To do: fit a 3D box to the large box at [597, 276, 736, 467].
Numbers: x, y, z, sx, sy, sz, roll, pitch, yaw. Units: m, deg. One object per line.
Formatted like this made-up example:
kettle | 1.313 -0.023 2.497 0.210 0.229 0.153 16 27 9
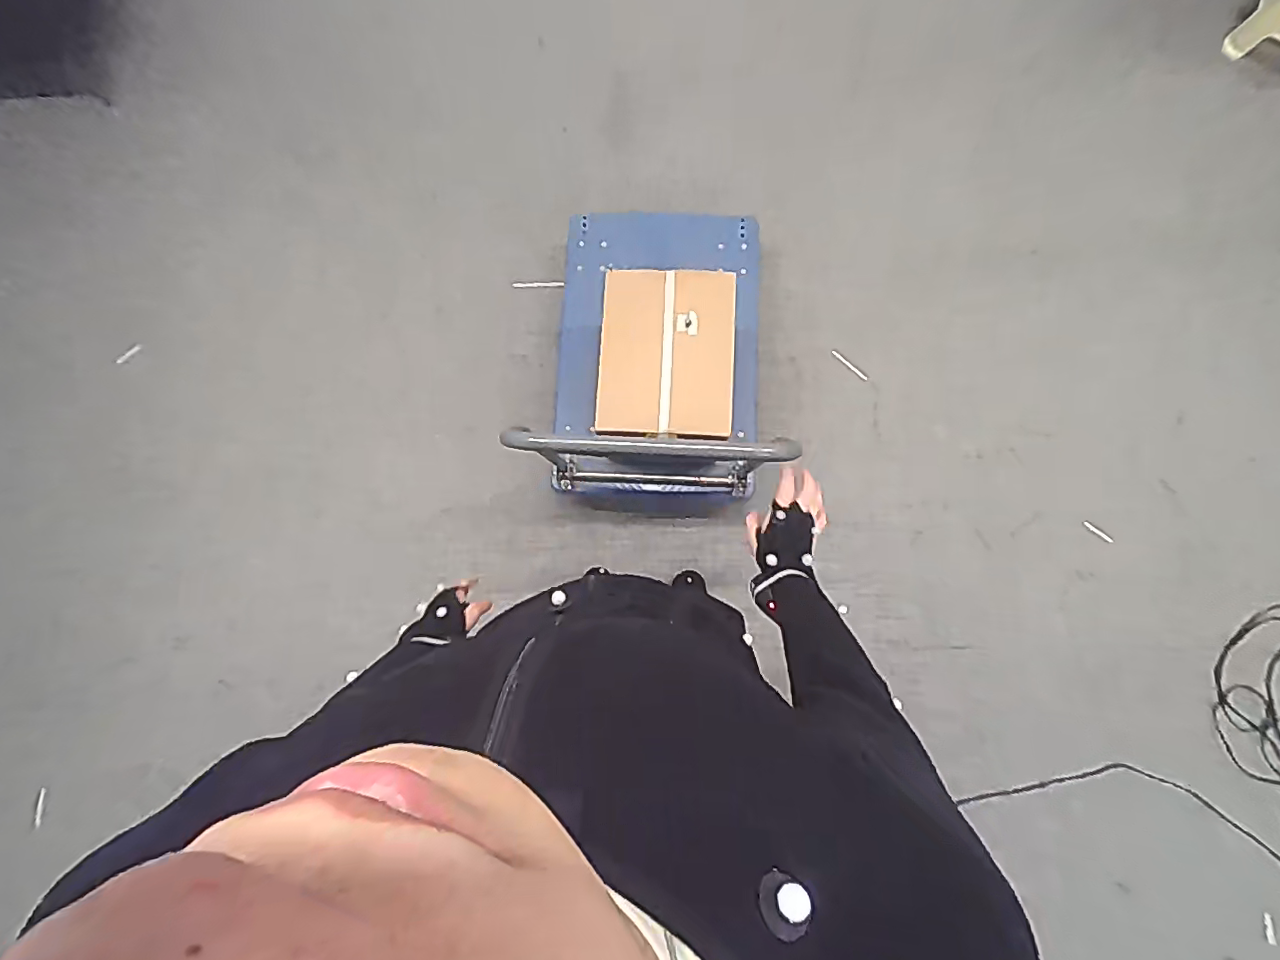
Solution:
large box | 0.071 -0.258 1.393 0.320 0.320 0.408 3 79 2
